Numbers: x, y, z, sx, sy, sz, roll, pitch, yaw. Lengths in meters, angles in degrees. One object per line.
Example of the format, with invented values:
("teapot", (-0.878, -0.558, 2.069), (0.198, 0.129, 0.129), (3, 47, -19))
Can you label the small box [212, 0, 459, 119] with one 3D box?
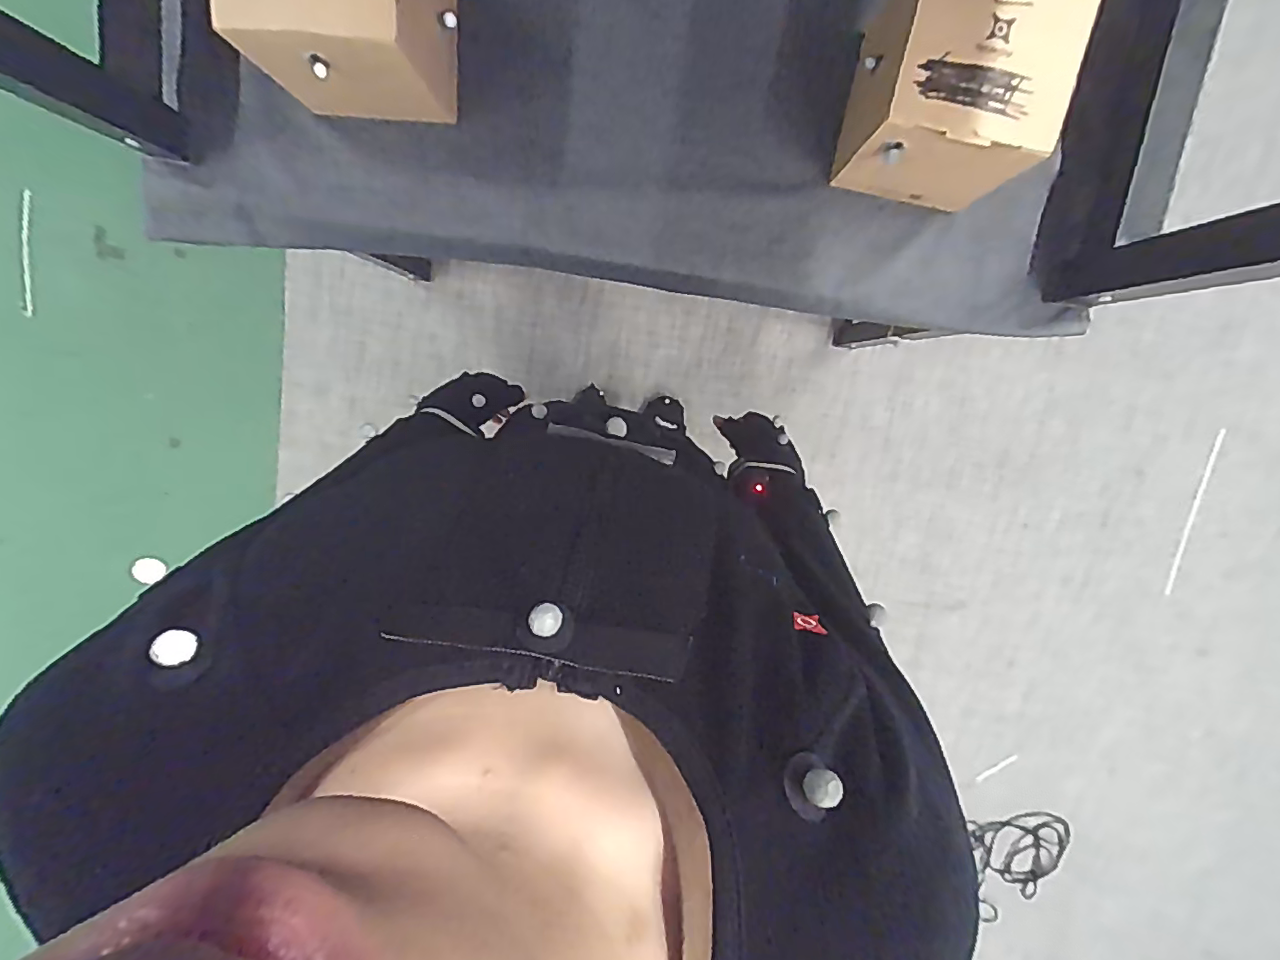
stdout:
("small box", (-0.307, -0.511, 0.571), (0.179, 0.176, 0.168), (4, 101, -1))
